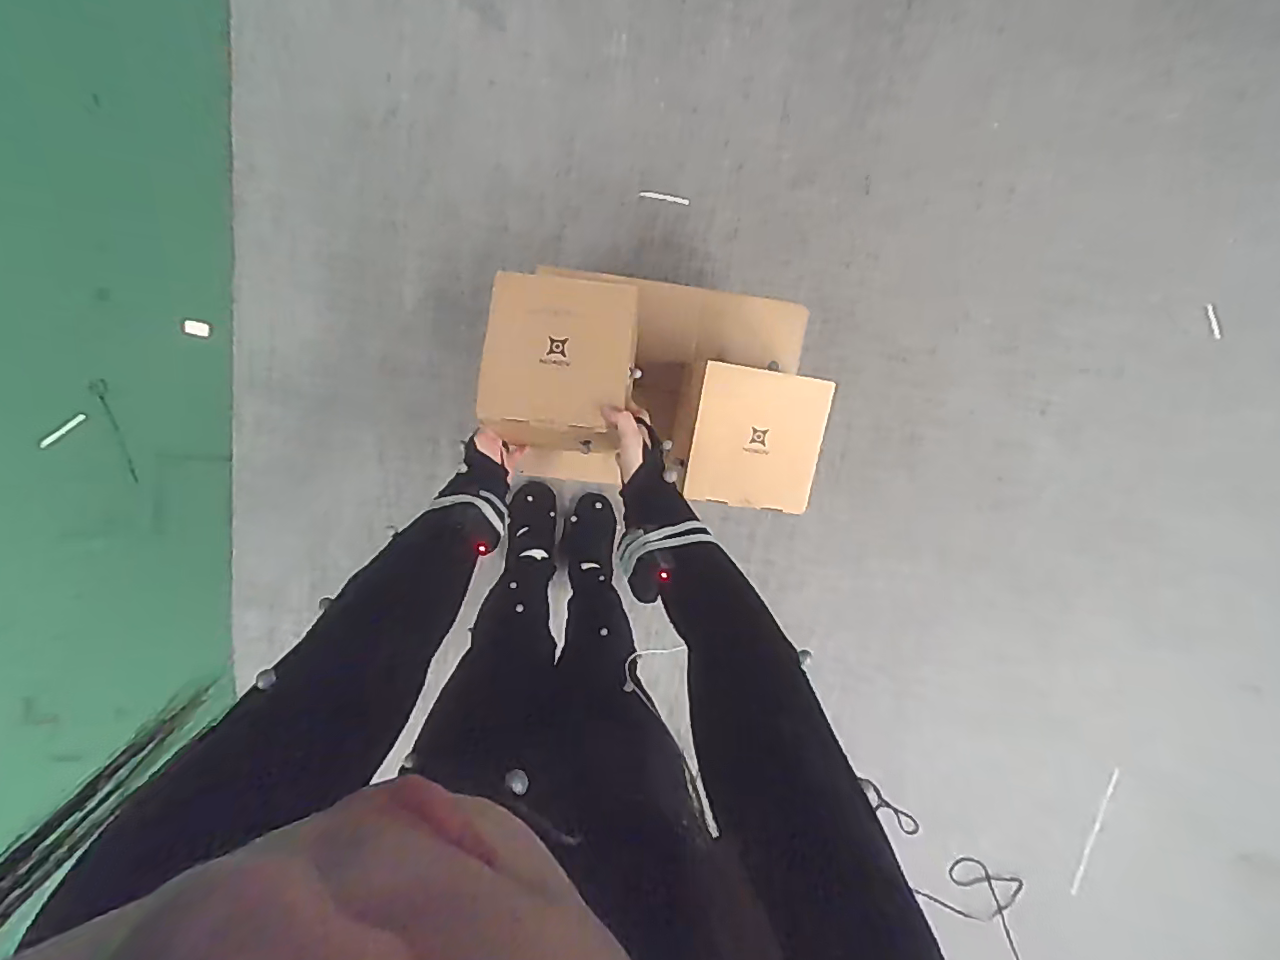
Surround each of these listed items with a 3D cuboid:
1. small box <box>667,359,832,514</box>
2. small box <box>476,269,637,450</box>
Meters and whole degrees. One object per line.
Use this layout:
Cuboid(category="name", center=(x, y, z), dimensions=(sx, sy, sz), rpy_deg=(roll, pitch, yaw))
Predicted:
Cuboid(category="small box", center=(0.139, -0.069, 0.757), dimensions=(0.168, 0.176, 0.179), rpy_deg=(9, 104, -7))
Cuboid(category="small box", center=(-0.094, -0.140, 0.691), dimensions=(0.168, 0.176, 0.179), rpy_deg=(7, 84, 0))
